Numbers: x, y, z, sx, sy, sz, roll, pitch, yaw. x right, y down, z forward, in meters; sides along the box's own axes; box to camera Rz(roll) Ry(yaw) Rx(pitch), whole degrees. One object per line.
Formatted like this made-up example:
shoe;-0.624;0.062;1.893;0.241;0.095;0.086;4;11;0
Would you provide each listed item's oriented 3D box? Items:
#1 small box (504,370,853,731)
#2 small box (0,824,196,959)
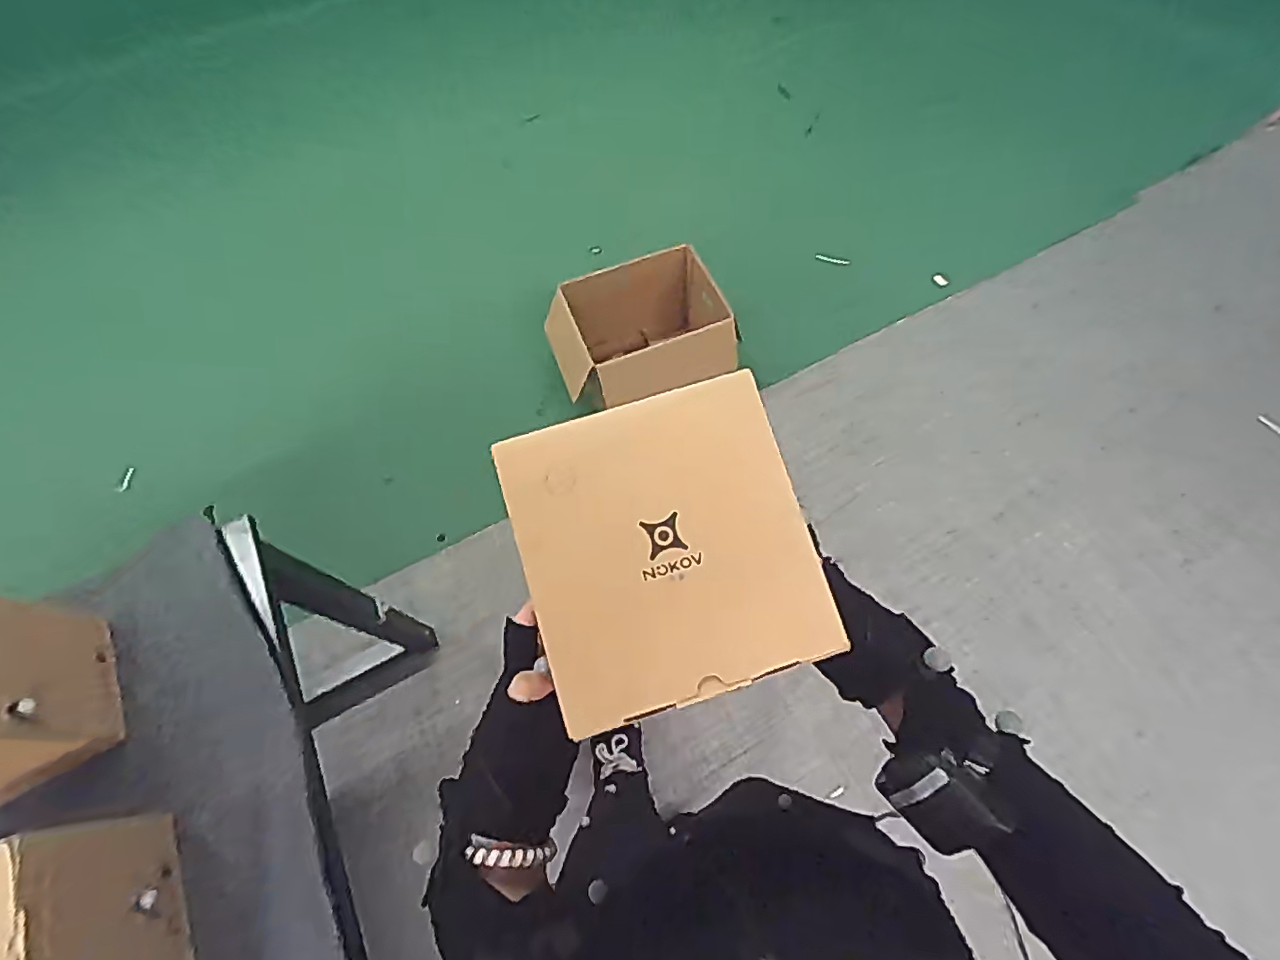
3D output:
small box;0.016;0.048;0.391;0.168;0.176;0.179;-17;81;-4
small box;-0.554;0.443;0.480;0.179;0.176;0.168;-28;67;-11
